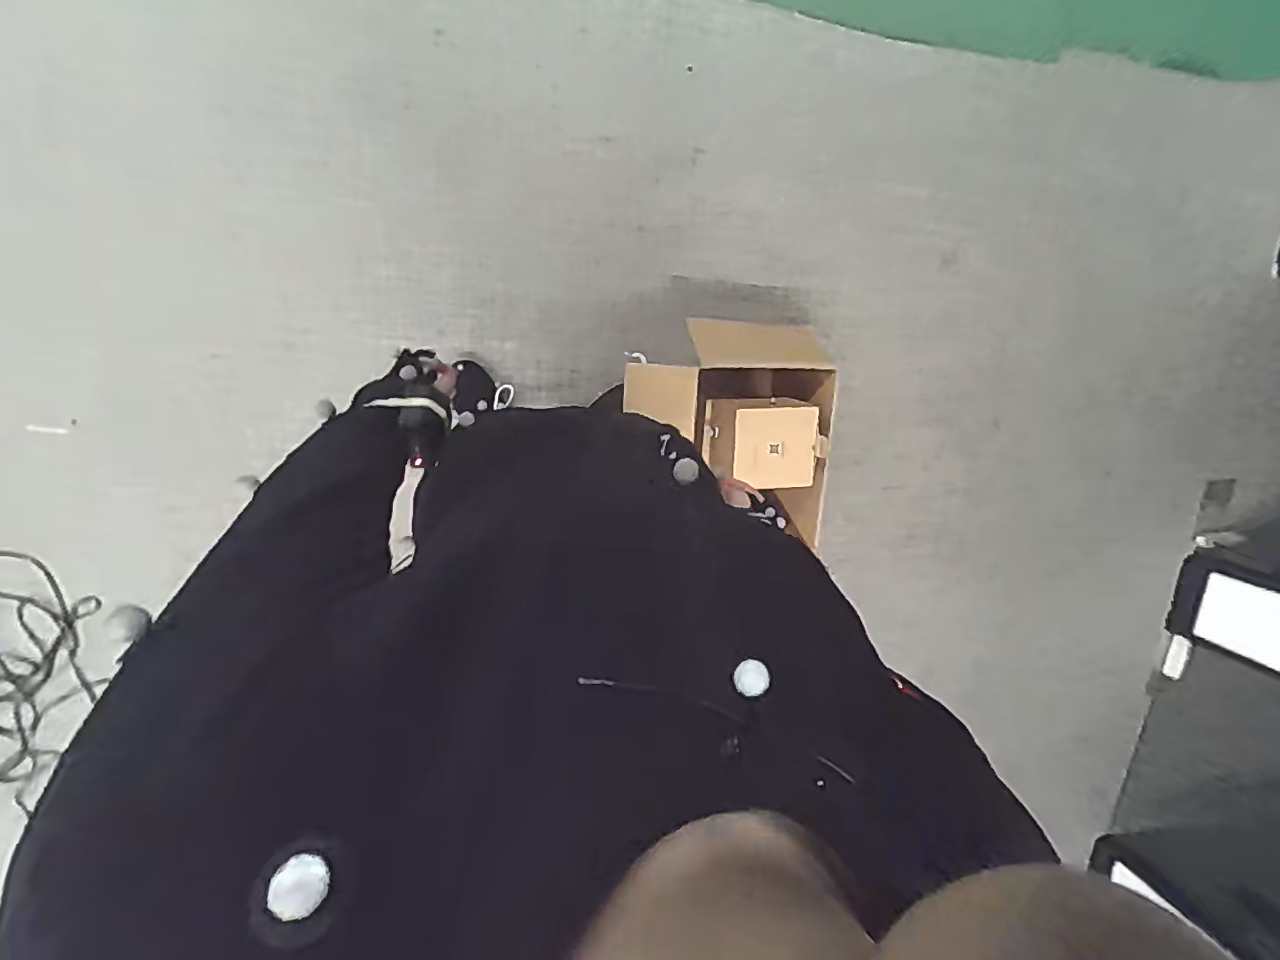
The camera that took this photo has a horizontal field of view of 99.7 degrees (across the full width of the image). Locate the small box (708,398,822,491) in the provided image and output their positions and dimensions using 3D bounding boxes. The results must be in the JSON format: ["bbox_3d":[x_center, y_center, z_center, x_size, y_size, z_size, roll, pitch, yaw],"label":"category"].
[{"bbox_3d":[0.255,-0.080,1.137,0.179,0.176,0.168,-2,105,-10],"label":"small box"}]
